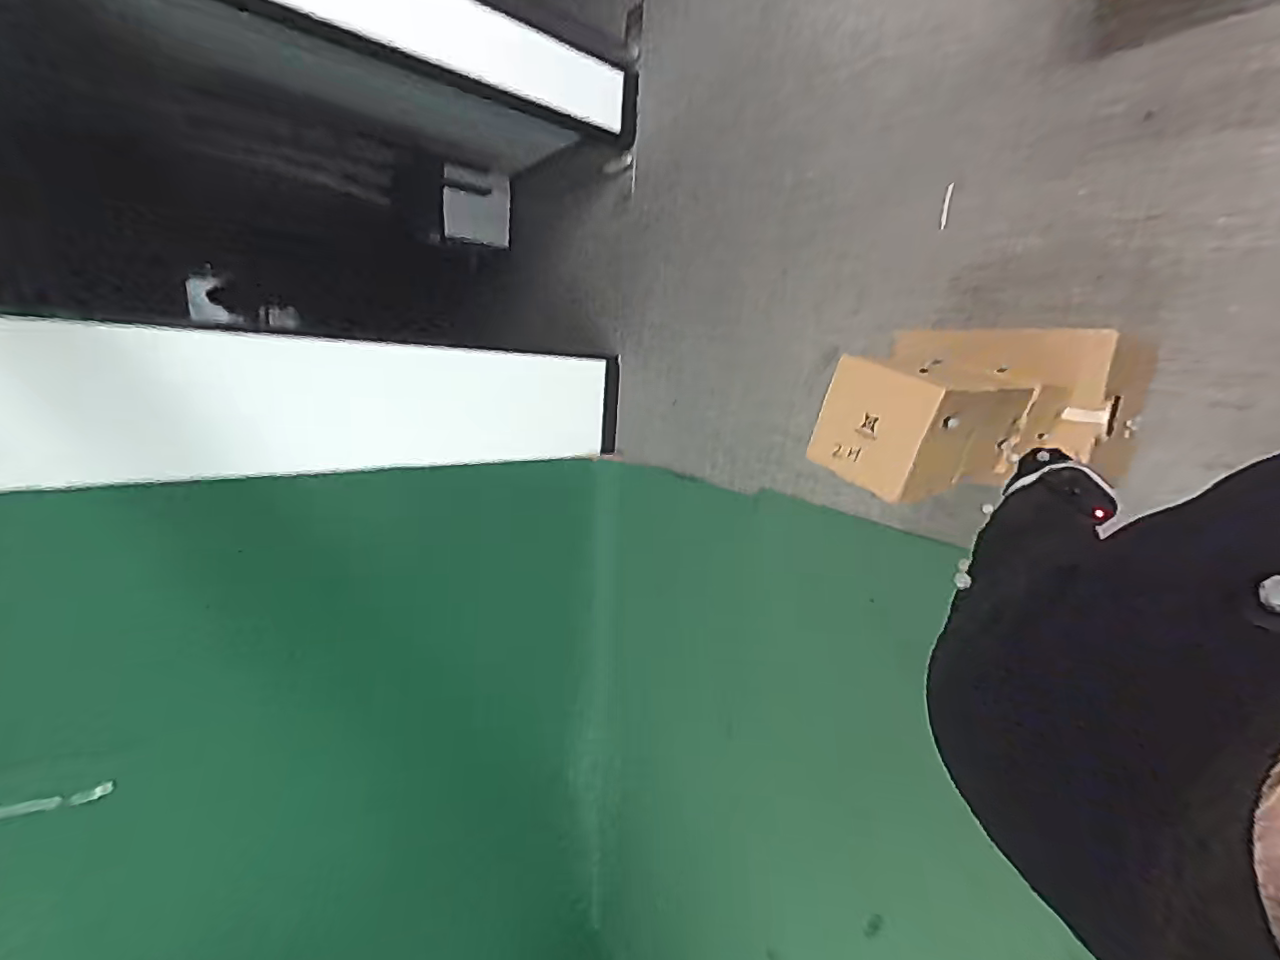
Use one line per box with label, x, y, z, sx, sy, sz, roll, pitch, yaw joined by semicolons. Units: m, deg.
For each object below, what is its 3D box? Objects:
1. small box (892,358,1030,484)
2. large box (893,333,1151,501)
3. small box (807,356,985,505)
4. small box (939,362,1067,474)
small box;0.529;-0.106;0.945;0.179;0.176;0.168;36;123;43
large box;0.826;-0.156;1.220;0.408;0.320;0.320;18;108;51
small box;0.401;-0.083;0.845;0.168;0.176;0.179;38;124;44
small box;0.665;-0.121;1.035;0.179;0.176;0.168;33;120;46
